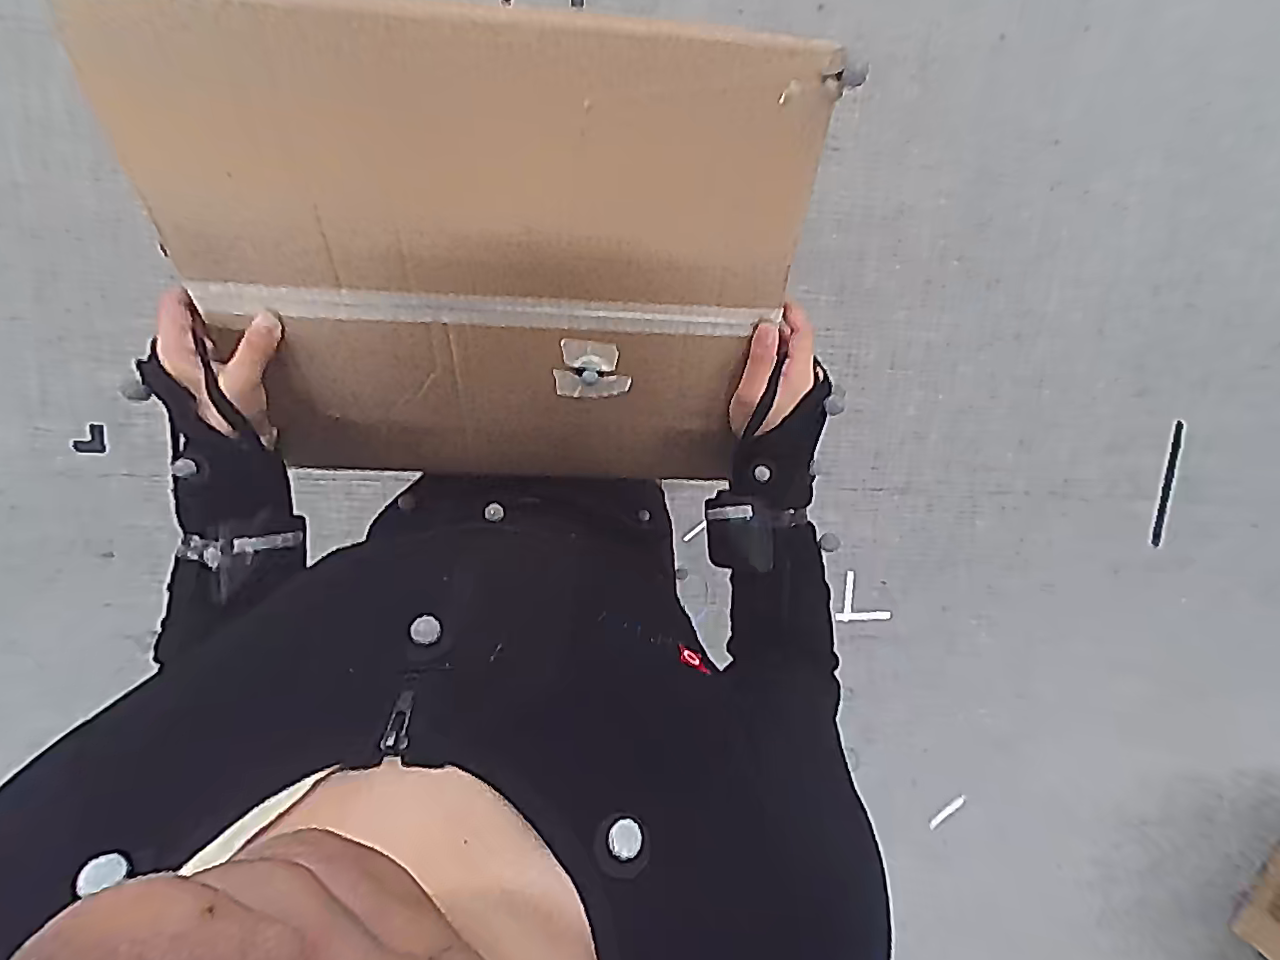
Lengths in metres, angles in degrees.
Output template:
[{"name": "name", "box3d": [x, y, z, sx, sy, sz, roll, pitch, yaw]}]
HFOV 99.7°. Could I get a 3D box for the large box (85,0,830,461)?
[{"name": "large box", "box3d": [-0.107, -0.230, 0.498, 0.408, 0.320, 0.320, 1, 133, -5]}]
